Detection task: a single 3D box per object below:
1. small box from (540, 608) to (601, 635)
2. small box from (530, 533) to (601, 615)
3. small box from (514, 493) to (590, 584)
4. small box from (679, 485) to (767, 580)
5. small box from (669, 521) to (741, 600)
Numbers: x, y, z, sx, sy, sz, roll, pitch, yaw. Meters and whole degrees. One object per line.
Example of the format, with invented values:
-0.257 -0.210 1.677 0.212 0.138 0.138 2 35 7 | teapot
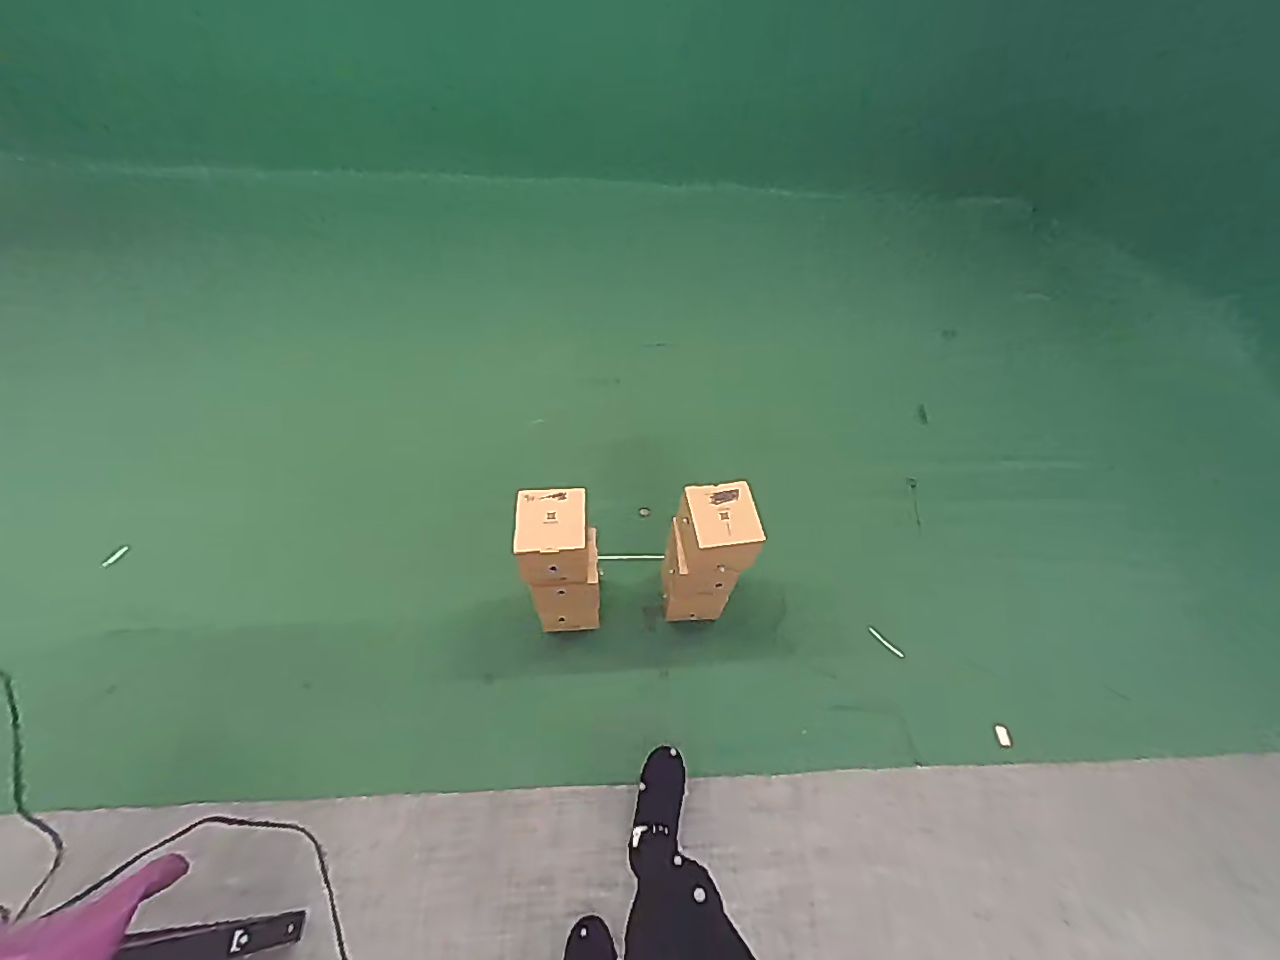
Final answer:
-0.203 0.351 1.603 0.168 0.176 0.179 -2 54 -5 | small box
-0.198 0.258 1.467 0.179 0.176 0.168 -2 54 -5 | small box
-0.211 0.151 1.341 0.168 0.176 0.179 -2 55 -4 | small box
0.201 0.135 1.379 0.168 0.176 0.179 -6 57 -9 | small box
0.176 0.229 1.511 0.168 0.176 0.179 -1 55 -6 | small box
